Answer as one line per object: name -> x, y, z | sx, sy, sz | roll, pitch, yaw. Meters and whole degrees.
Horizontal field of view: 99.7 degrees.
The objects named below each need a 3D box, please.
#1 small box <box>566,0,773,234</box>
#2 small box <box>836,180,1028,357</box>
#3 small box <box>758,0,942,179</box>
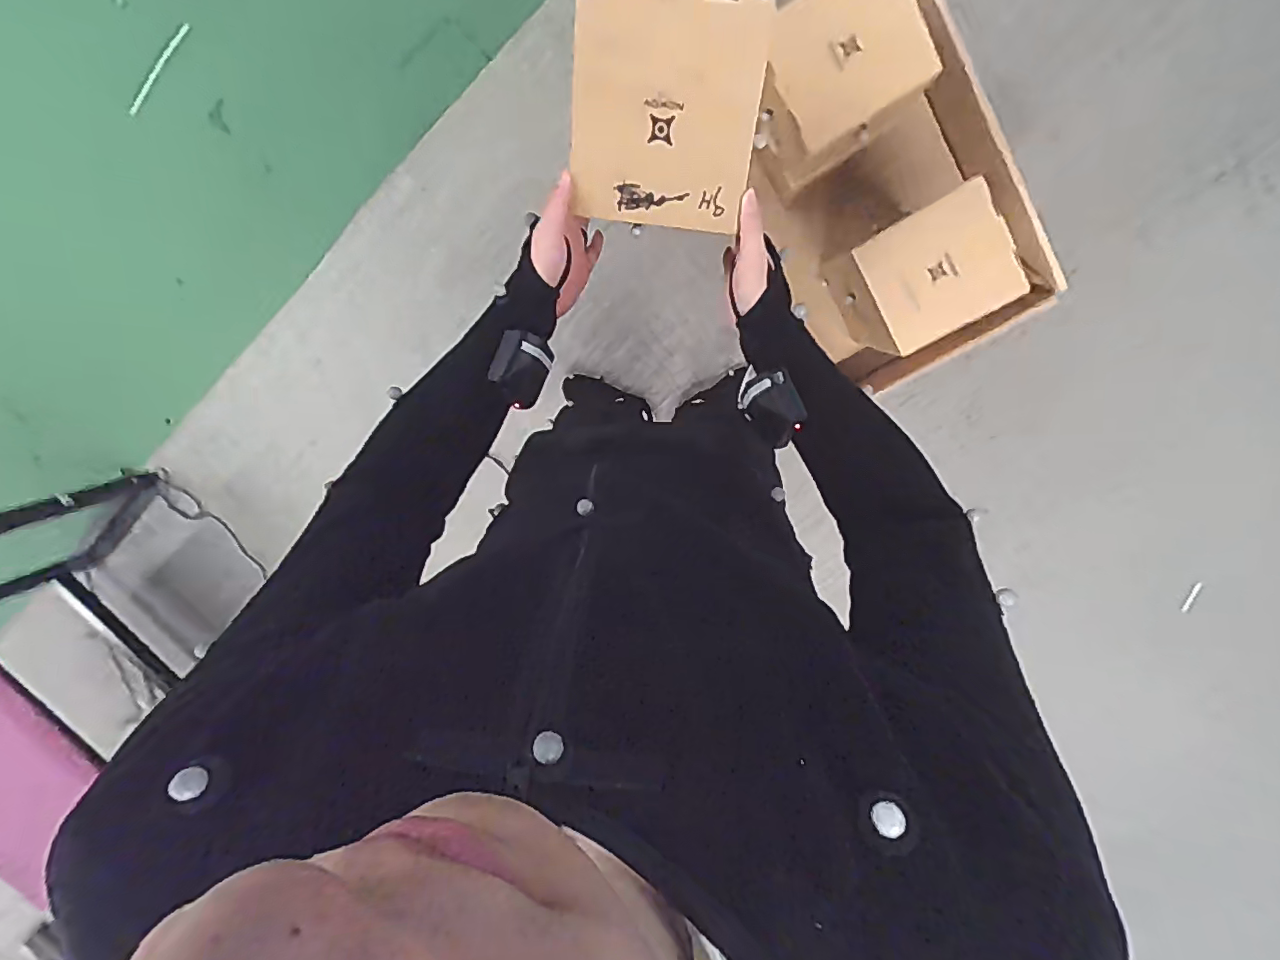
small box -> 0.027, -0.358, 0.547 | 0.168, 0.176, 0.179 | 9, 119, 4
small box -> 0.415, -0.302, 0.798 | 0.179, 0.176, 0.168 | -27, 100, 17
small box -> 0.271, -0.554, 0.746 | 0.179, 0.176, 0.168 | -27, 102, 16
